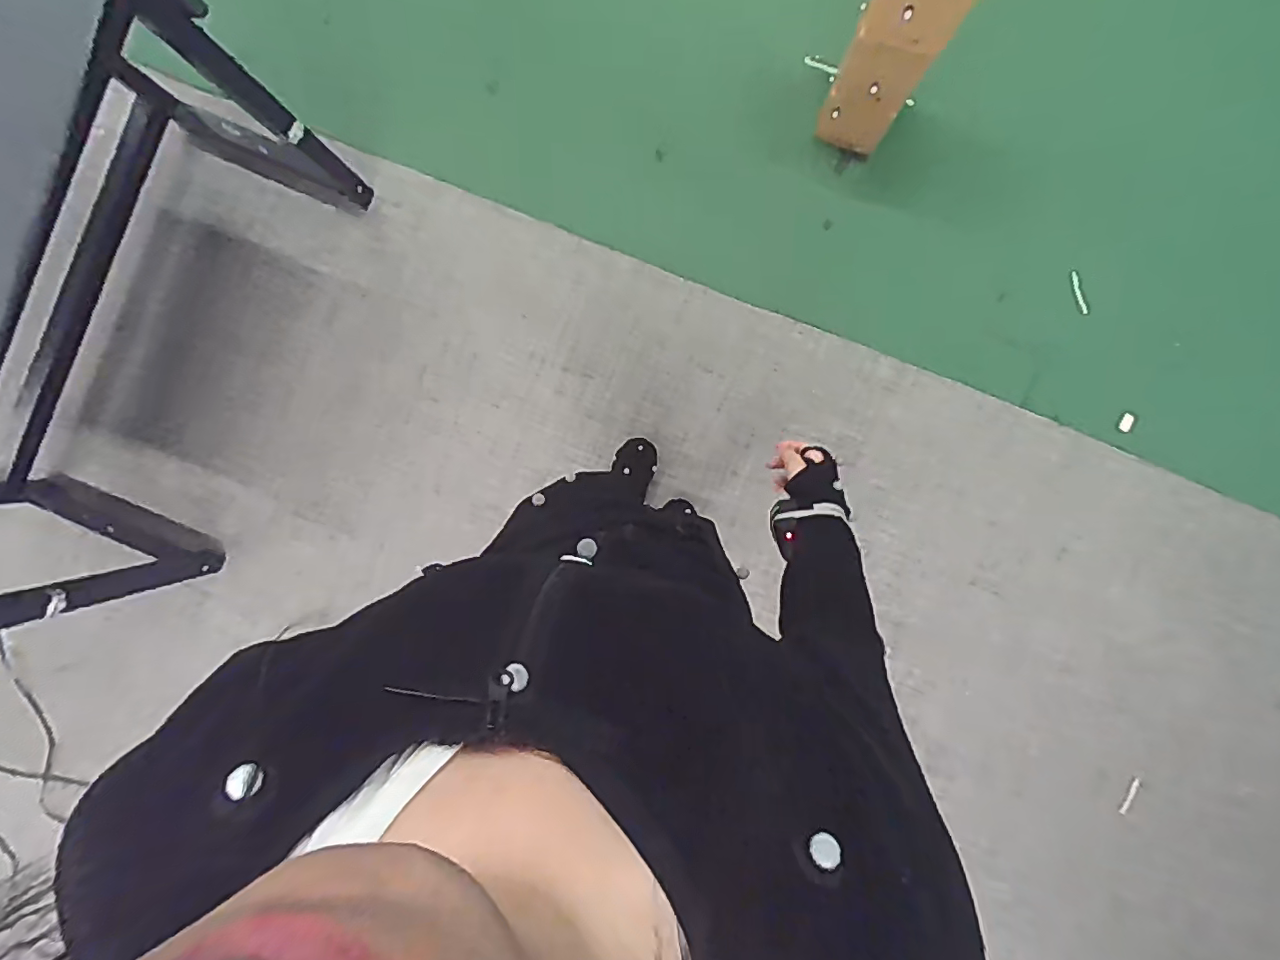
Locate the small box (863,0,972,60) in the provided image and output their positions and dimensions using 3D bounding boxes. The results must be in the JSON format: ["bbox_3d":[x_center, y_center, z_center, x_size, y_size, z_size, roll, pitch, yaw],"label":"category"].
[{"bbox_3d":[0.557,-0.974,1.051,0.168,0.176,0.179,17,91,1],"label":"small box"}]

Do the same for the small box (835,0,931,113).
[{"bbox_3d":[0.561,-0.982,1.213,0.168,0.176,0.179,19,92,1],"label":"small box"}]
